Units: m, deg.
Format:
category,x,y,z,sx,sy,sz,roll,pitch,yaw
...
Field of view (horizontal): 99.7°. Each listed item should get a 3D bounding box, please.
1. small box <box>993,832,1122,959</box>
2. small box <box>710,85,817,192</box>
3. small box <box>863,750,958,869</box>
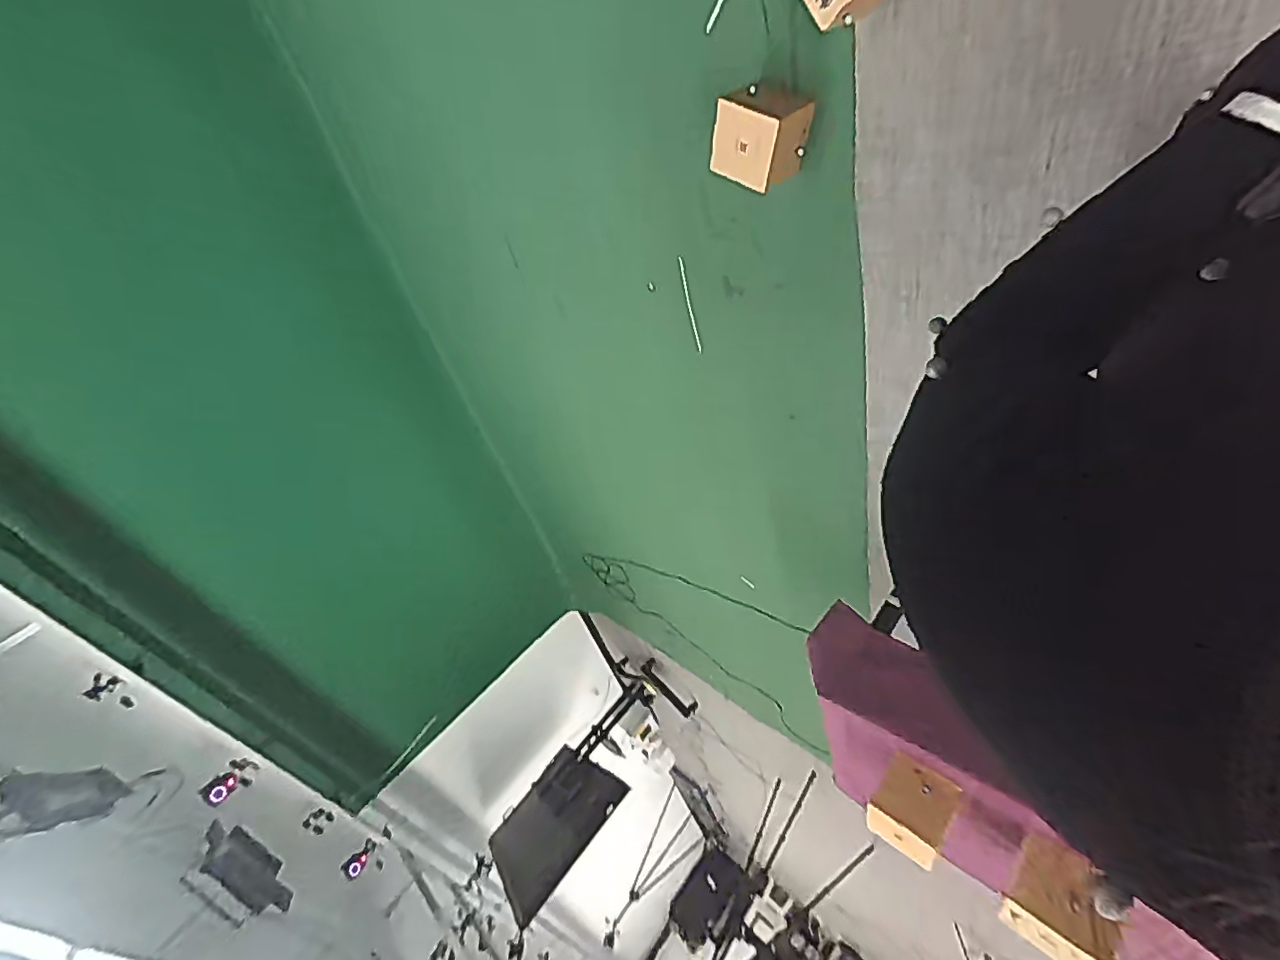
category,x,y,z,sx,sy,sz,roll,pitch,yaw
small box,0.910,0.922,1.182,0.179,0.176,0.168,22,142,40
small box,0.306,-0.860,1.353,0.179,0.176,0.168,37,151,21
small box,0.695,0.844,1.393,0.168,0.176,0.179,23,142,39
